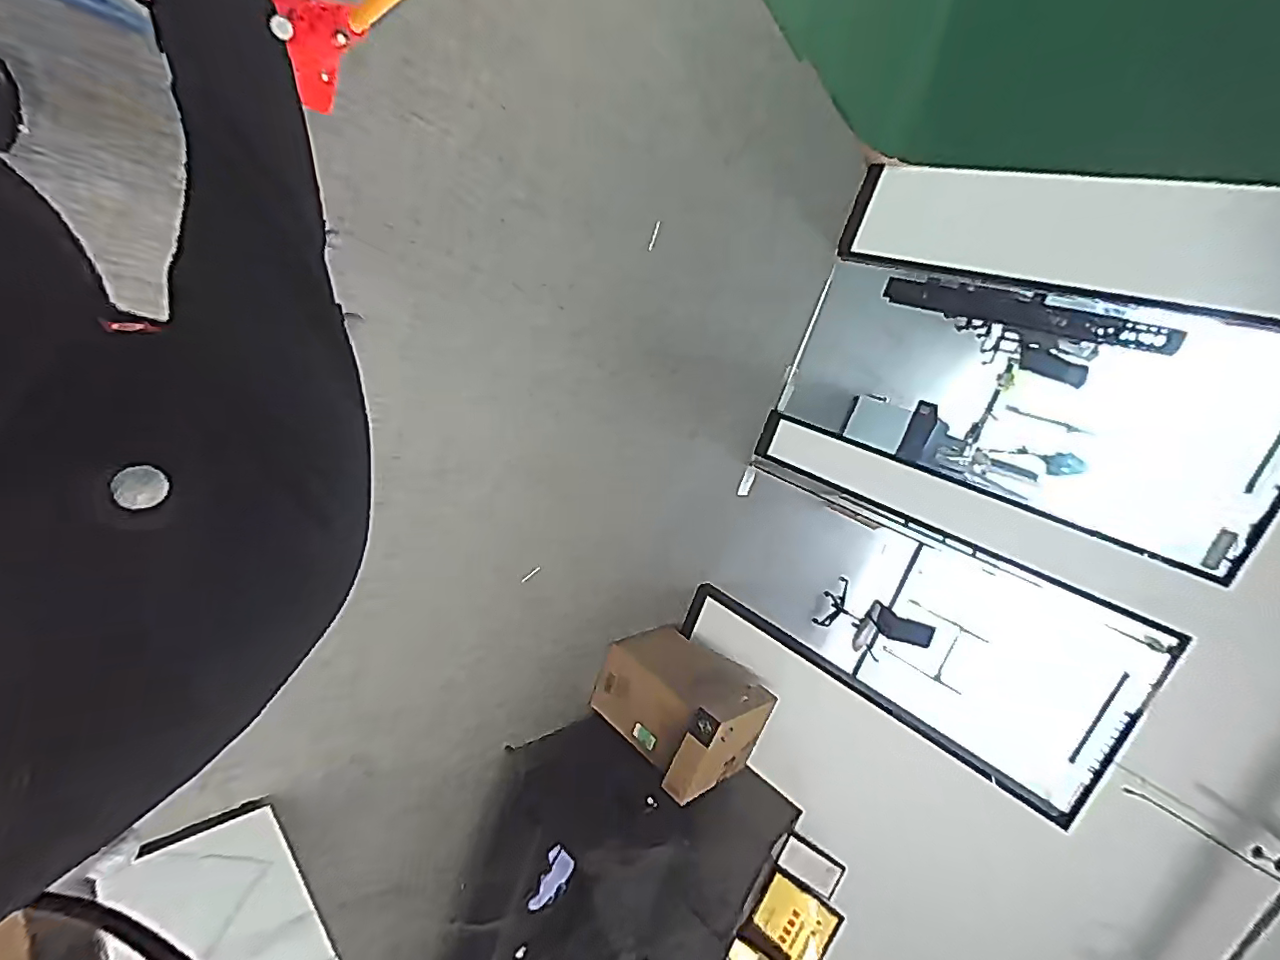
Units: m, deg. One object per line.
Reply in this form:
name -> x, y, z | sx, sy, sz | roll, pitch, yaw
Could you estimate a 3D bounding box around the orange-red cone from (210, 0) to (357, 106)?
orange-red cone -> -0.598, -0.821, 0.968 | 0.199, 0.360, 0.198 | 5, 109, -51
